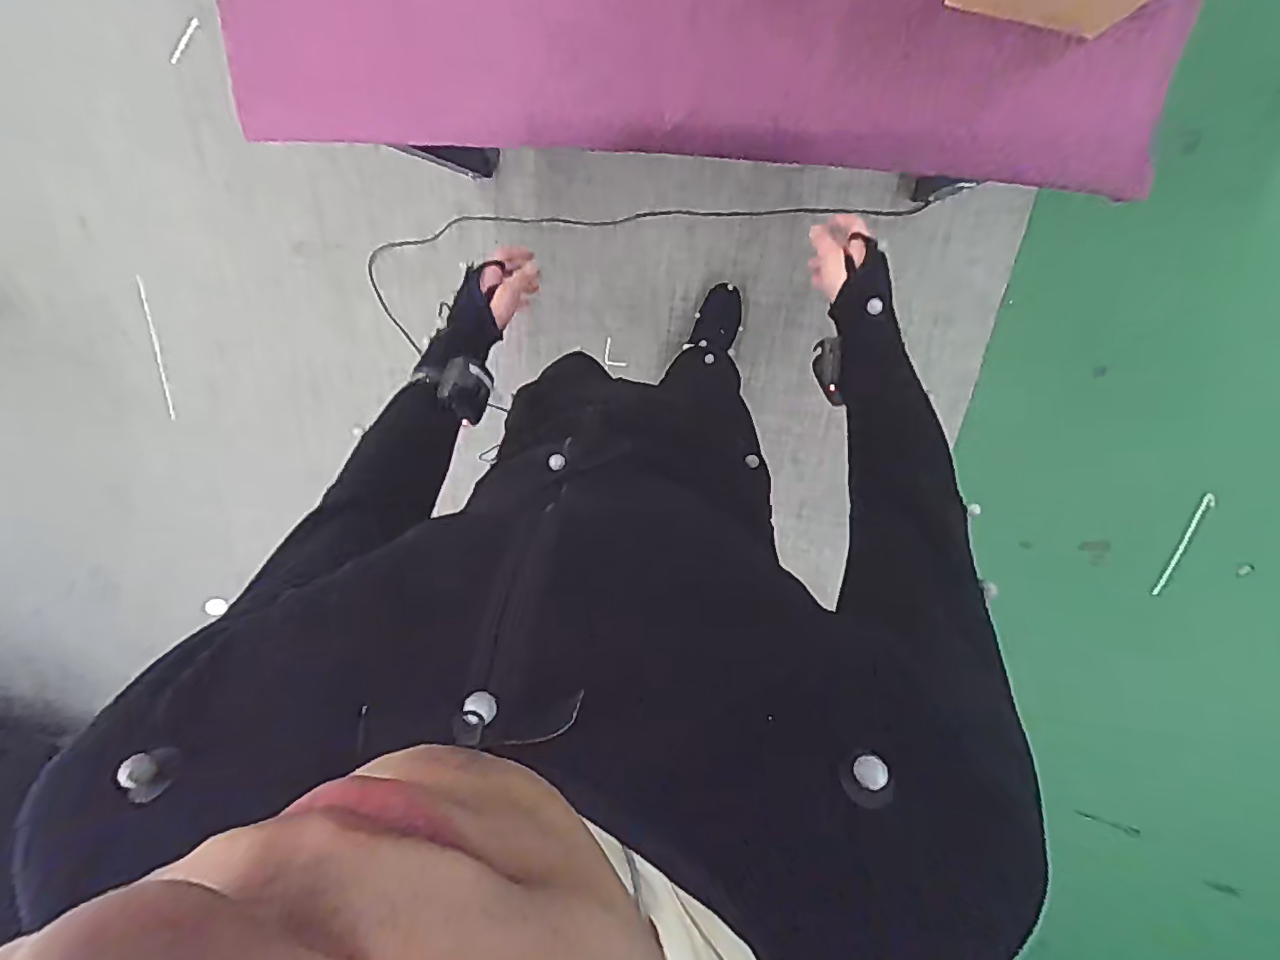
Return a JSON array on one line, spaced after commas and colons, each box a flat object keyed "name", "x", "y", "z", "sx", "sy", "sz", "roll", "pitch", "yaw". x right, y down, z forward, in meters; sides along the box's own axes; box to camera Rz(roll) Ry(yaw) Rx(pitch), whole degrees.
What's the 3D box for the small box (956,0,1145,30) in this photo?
[{"name": "small box", "x": 0.438, "y": -0.565, "z": 0.508, "sx": 0.179, "sy": 0.176, "sz": 0.168, "roll": 18, "pitch": 113, "yaw": 5}]
